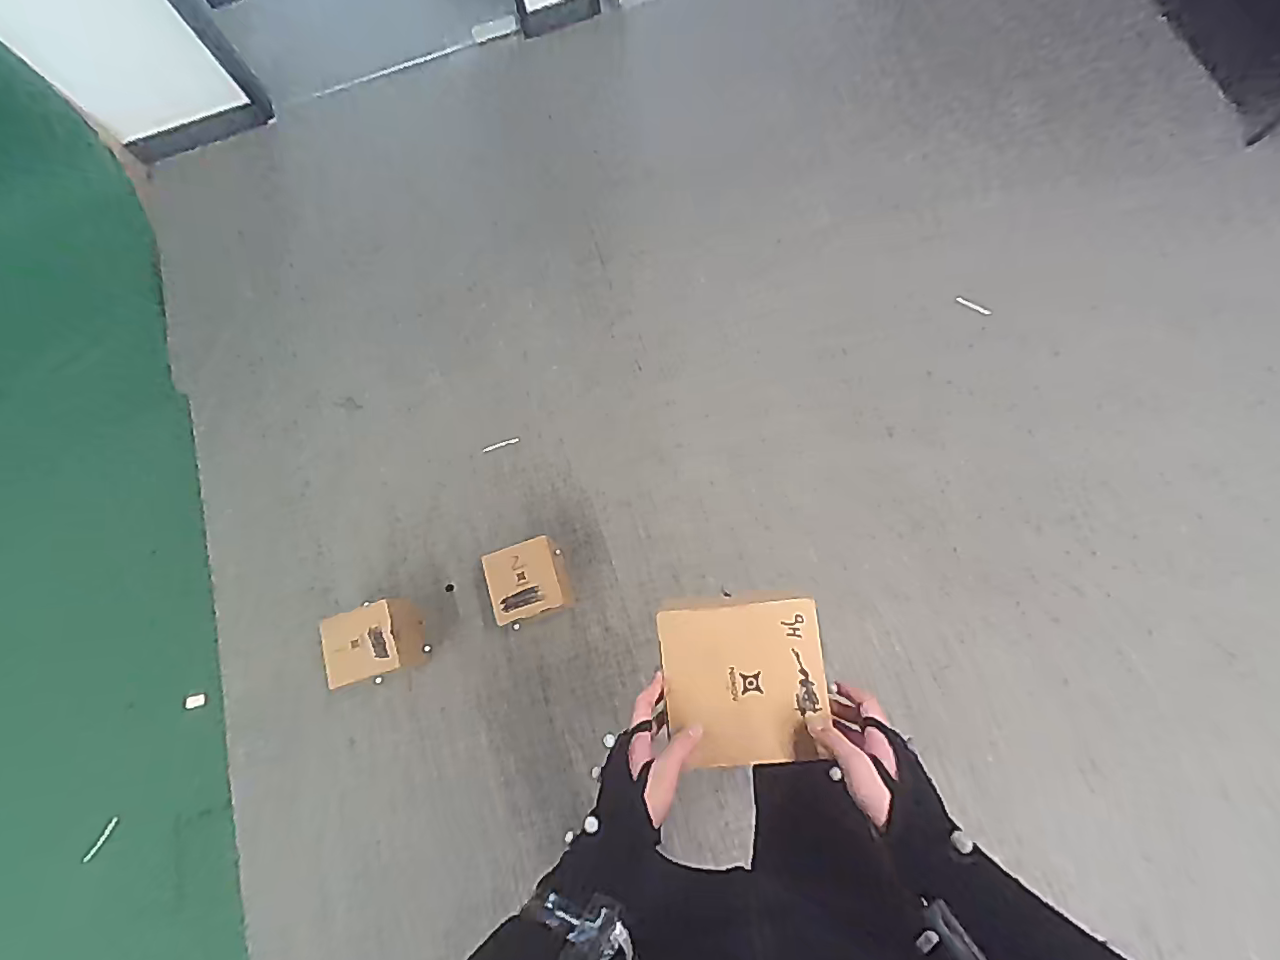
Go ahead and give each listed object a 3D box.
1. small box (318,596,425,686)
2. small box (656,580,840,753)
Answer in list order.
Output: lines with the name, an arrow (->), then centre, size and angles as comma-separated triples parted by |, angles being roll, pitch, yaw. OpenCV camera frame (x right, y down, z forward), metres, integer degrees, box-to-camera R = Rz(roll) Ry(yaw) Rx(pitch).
small box -> -0.654, 0.393, 1.339 | 0.179, 0.176, 0.168 | -18, 75, 0
small box -> 0.122, 0.211, 0.647 | 0.179, 0.176, 0.168 | -7, 81, 7
